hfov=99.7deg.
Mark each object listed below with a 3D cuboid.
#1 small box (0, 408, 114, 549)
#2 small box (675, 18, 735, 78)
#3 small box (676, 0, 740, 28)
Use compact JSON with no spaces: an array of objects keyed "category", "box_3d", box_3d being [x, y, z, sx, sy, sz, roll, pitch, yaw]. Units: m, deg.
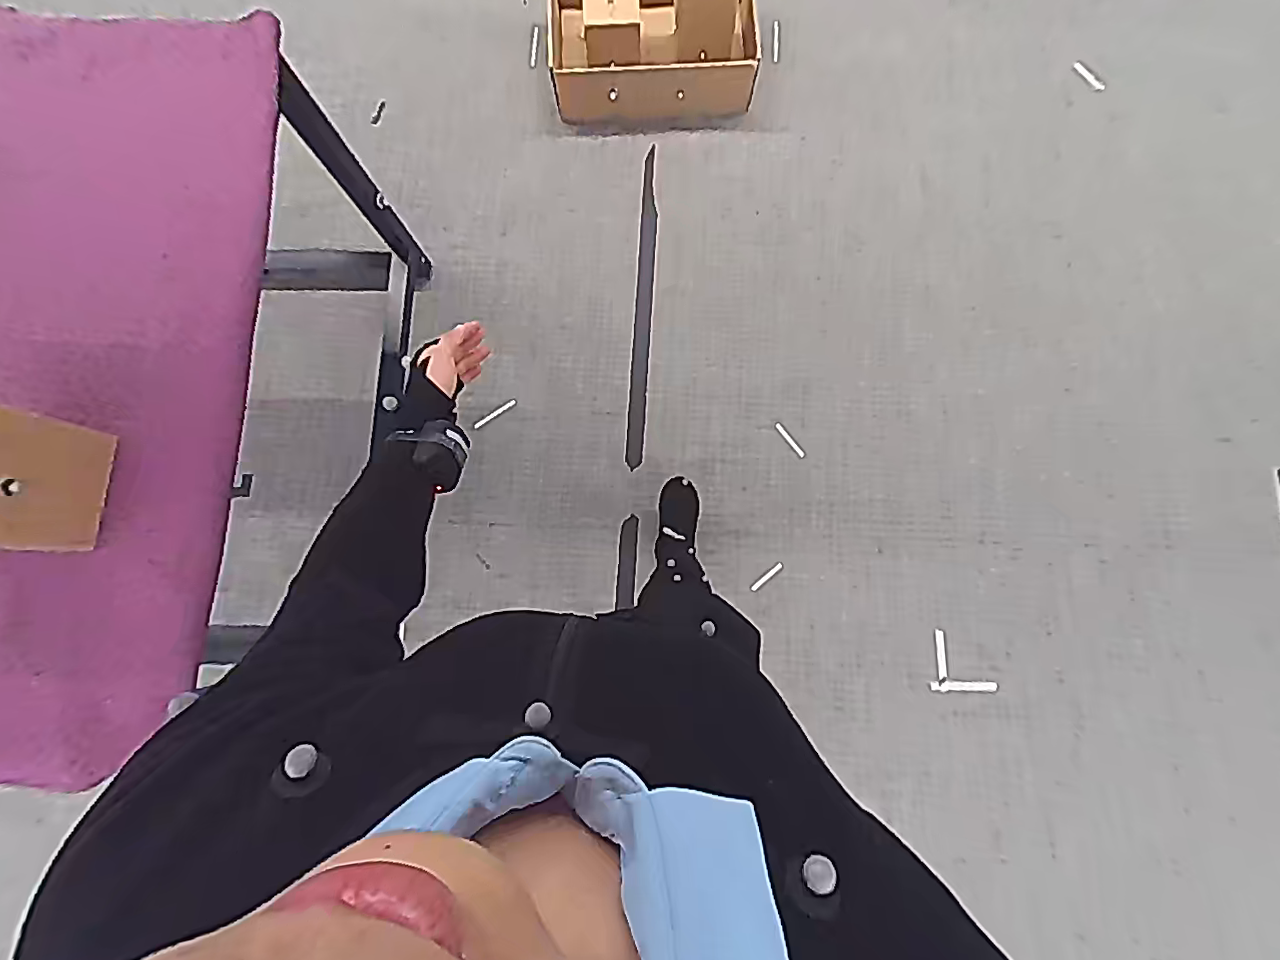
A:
[{"category":"small box","box_3d":[-0.876,0.000,0.728,0.168,0.176,0.179,2,79,1]},{"category":"small box","box_3d":[0.195,-1.366,1.647,0.168,0.176,0.179,-1,79,0]},{"category":"small box","box_3d":[0.190,-1.393,1.487,0.179,0.176,0.168,-2,80,1]}]
